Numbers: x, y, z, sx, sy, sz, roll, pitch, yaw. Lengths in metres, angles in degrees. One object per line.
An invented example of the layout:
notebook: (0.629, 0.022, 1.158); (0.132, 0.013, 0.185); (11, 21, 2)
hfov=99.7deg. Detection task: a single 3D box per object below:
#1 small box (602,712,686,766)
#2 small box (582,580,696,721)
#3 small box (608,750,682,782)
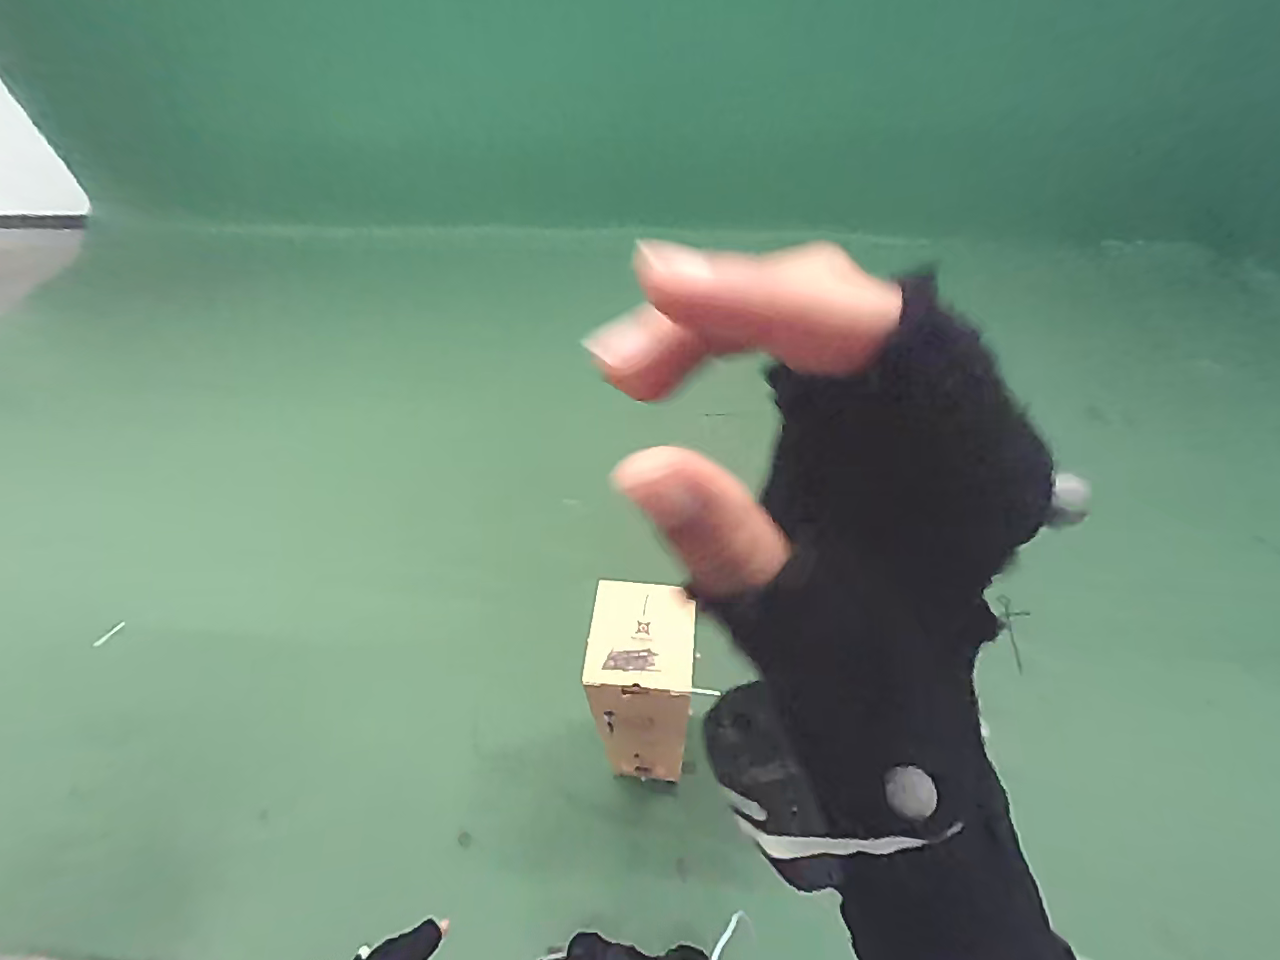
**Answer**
small box: (0.015, 0.499, 1.172); (0.168, 0.176, 0.179); (4, 52, 5)
small box: (0.005, 0.292, 0.915); (0.168, 0.176, 0.179); (4, 51, 5)
small box: (0.022, 0.602, 1.297); (0.168, 0.176, 0.179); (5, 51, 6)
